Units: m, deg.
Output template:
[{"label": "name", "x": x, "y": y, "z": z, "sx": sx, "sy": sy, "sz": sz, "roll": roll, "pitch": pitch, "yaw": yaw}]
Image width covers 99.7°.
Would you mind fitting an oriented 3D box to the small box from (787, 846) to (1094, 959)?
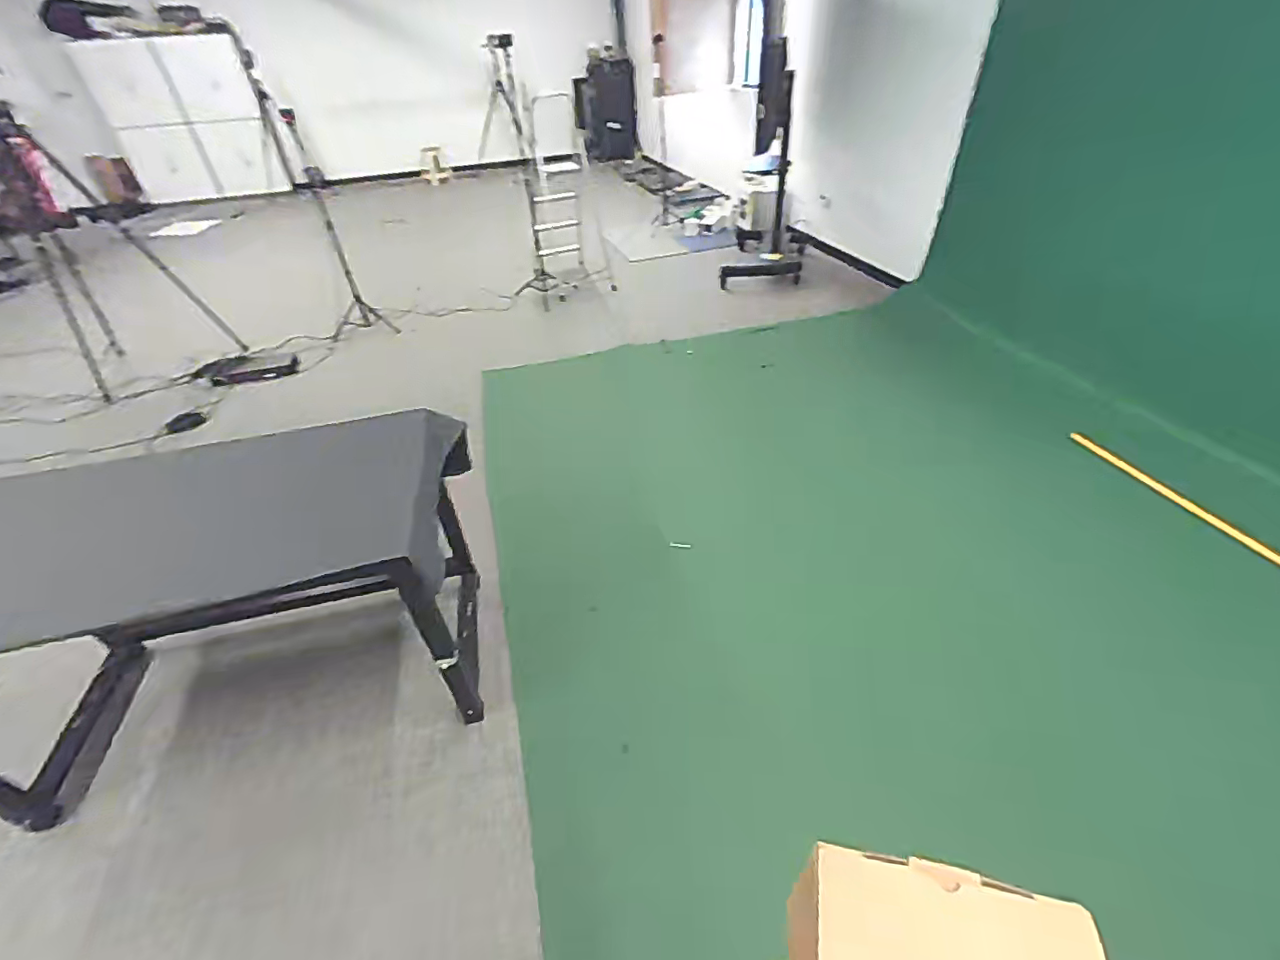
[{"label": "small box", "x": 0.184, "y": 0.381, "z": 0.350, "sx": 0.168, "sy": 0.176, "sz": 0.179, "roll": 6, "pitch": 41, "yaw": 13}]
